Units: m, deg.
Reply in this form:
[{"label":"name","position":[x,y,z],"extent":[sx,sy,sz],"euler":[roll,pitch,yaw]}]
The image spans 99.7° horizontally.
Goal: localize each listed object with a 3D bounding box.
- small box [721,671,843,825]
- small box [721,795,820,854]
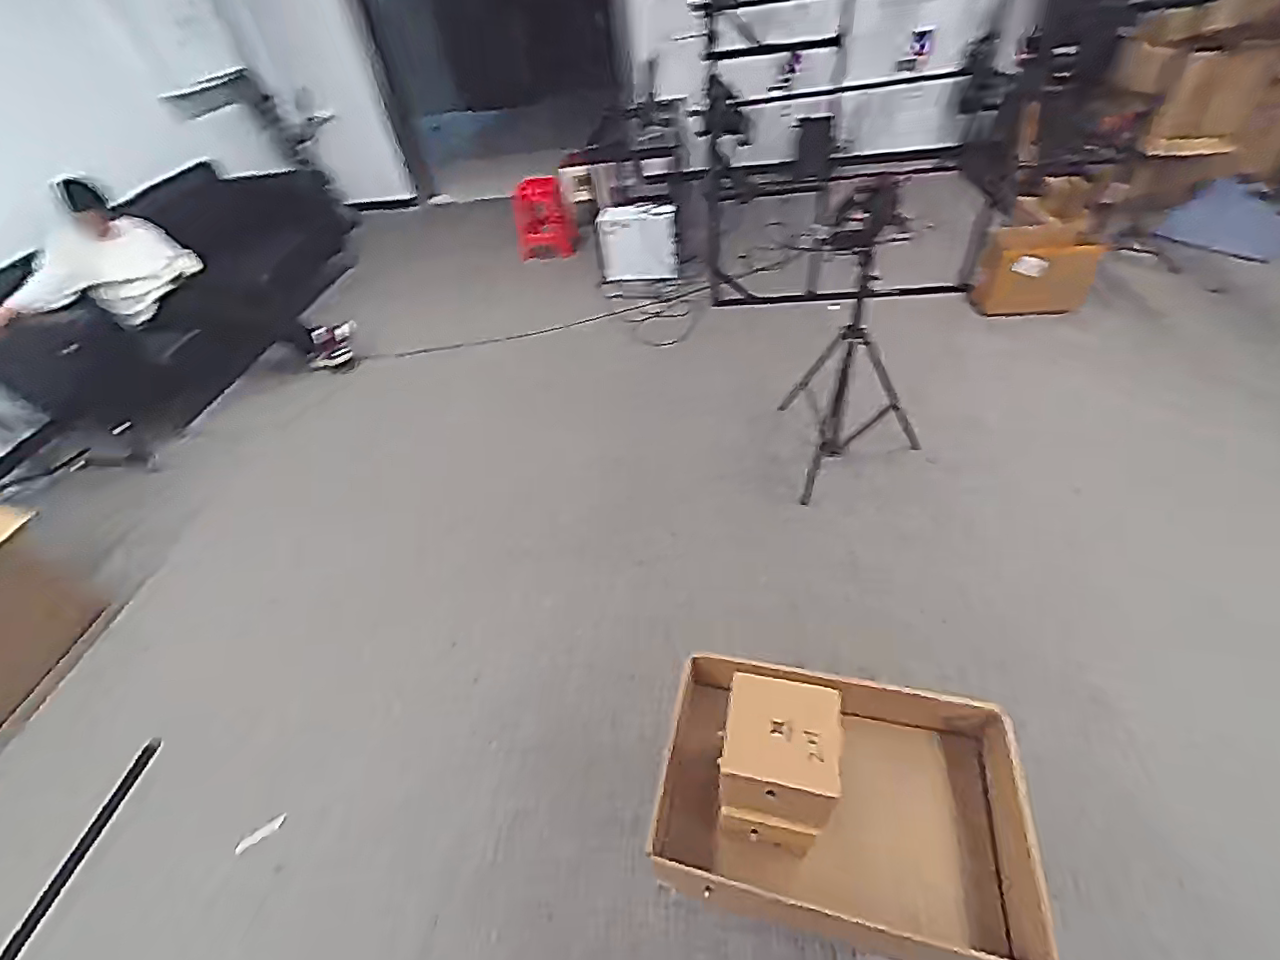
[{"label":"small box","position":[0.234,0.448,0.903],"extent":[0.179,0.176,0.168],"euler":[7,46,14]},{"label":"small box","position":[0.246,0.570,1.013],"extent":[0.168,0.176,0.179],"euler":[6,46,13]}]
